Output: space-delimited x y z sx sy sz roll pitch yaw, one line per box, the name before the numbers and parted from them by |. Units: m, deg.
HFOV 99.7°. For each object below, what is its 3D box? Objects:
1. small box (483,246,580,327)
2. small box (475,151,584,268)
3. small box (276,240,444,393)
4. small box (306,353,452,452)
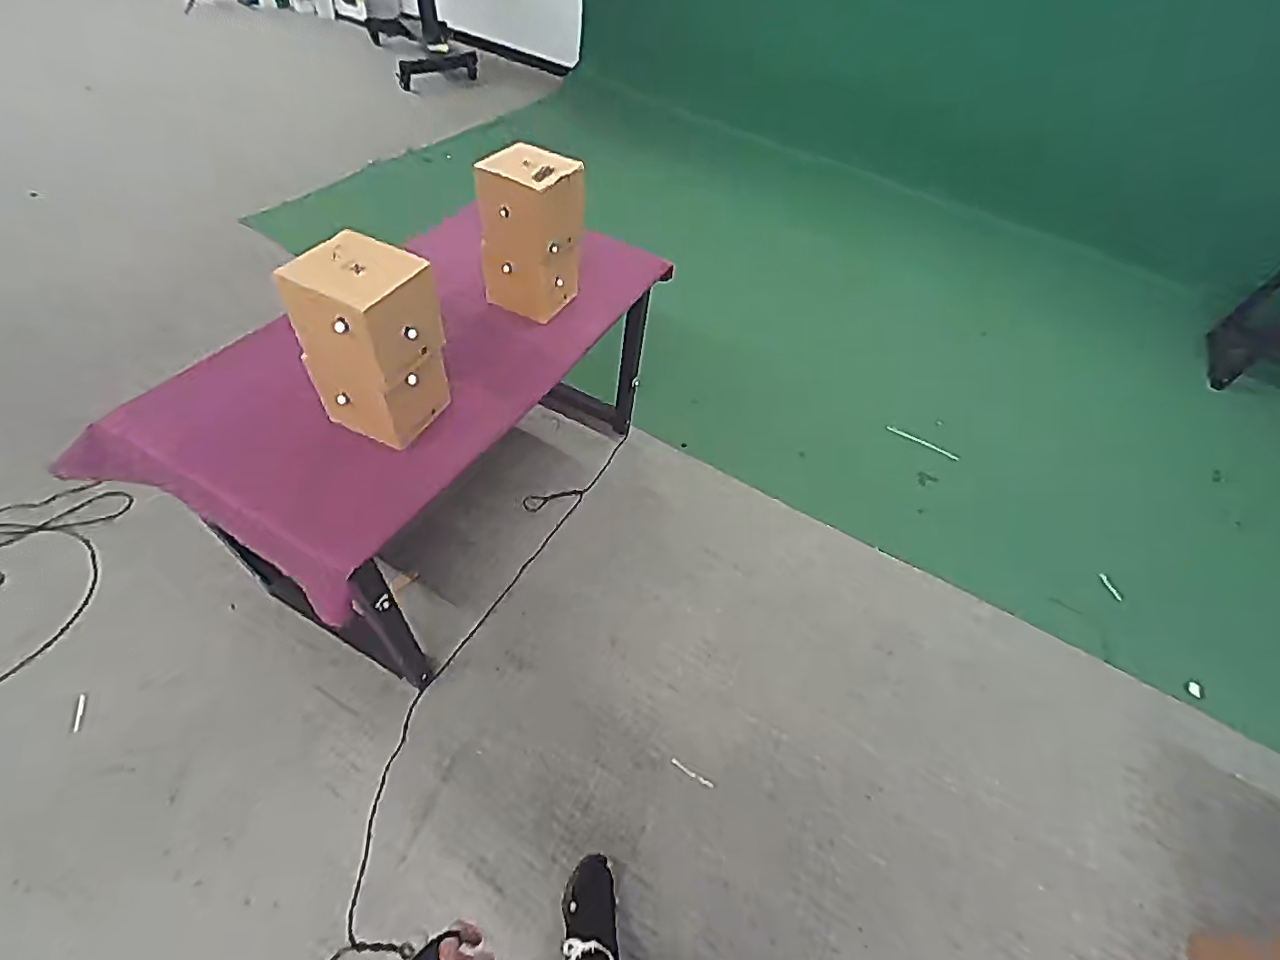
small box | -0.264 -0.510 1.356 0.179 0.176 0.168 24 54 13
small box | -0.241 -0.607 1.225 0.179 0.176 0.168 27 54 15
small box | -0.466 -0.277 0.934 0.179 0.176 0.168 23 52 10
small box | -0.501 -0.182 1.066 0.179 0.176 0.168 22 53 9
